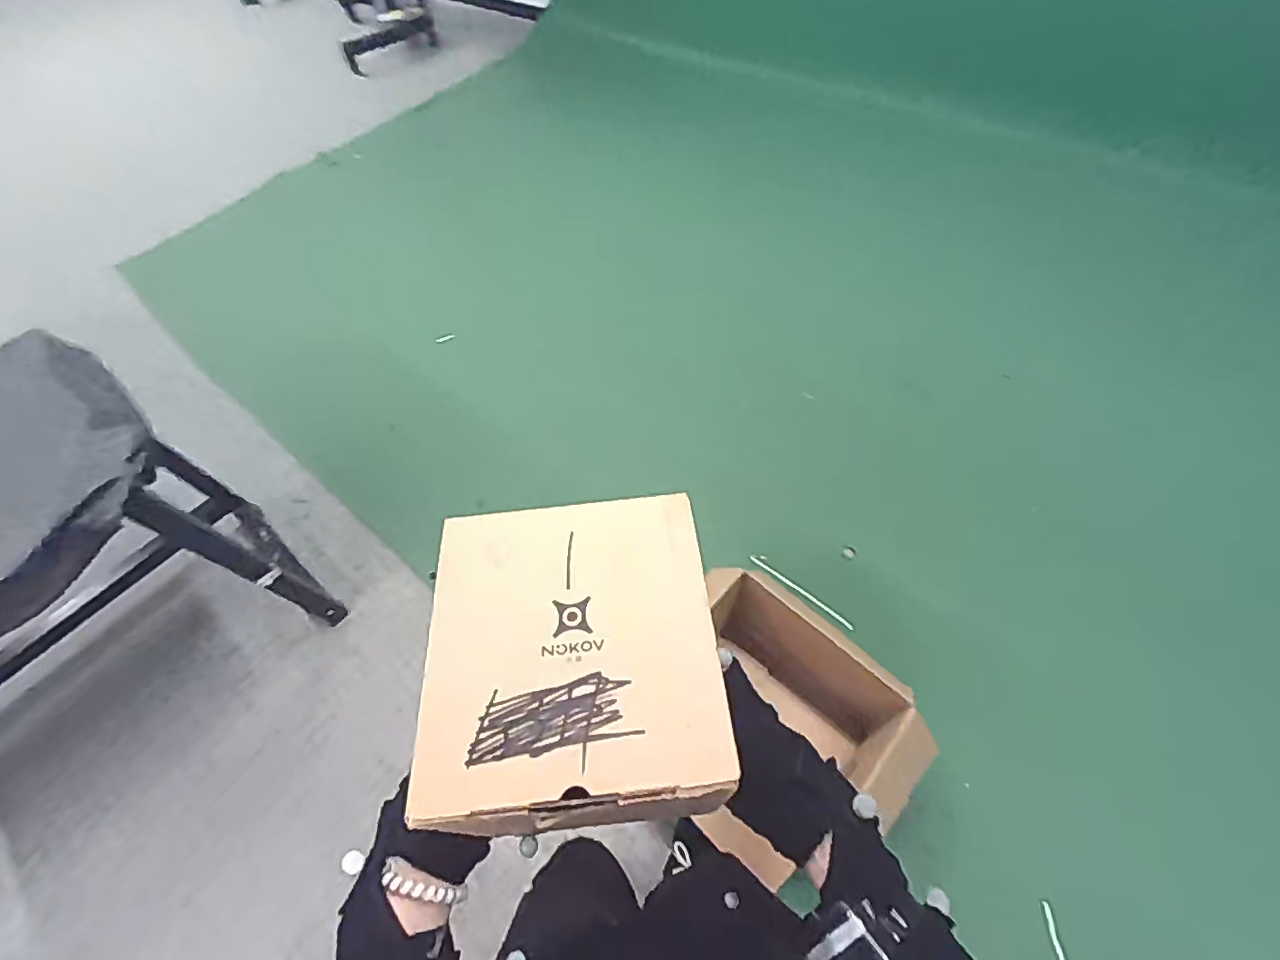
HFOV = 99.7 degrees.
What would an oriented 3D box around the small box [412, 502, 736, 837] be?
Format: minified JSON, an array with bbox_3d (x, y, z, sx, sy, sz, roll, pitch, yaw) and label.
[{"bbox_3d":[-0.036,0.138,0.377,0.168,0.176,0.179,-6,54,-2],"label":"small box"}]
